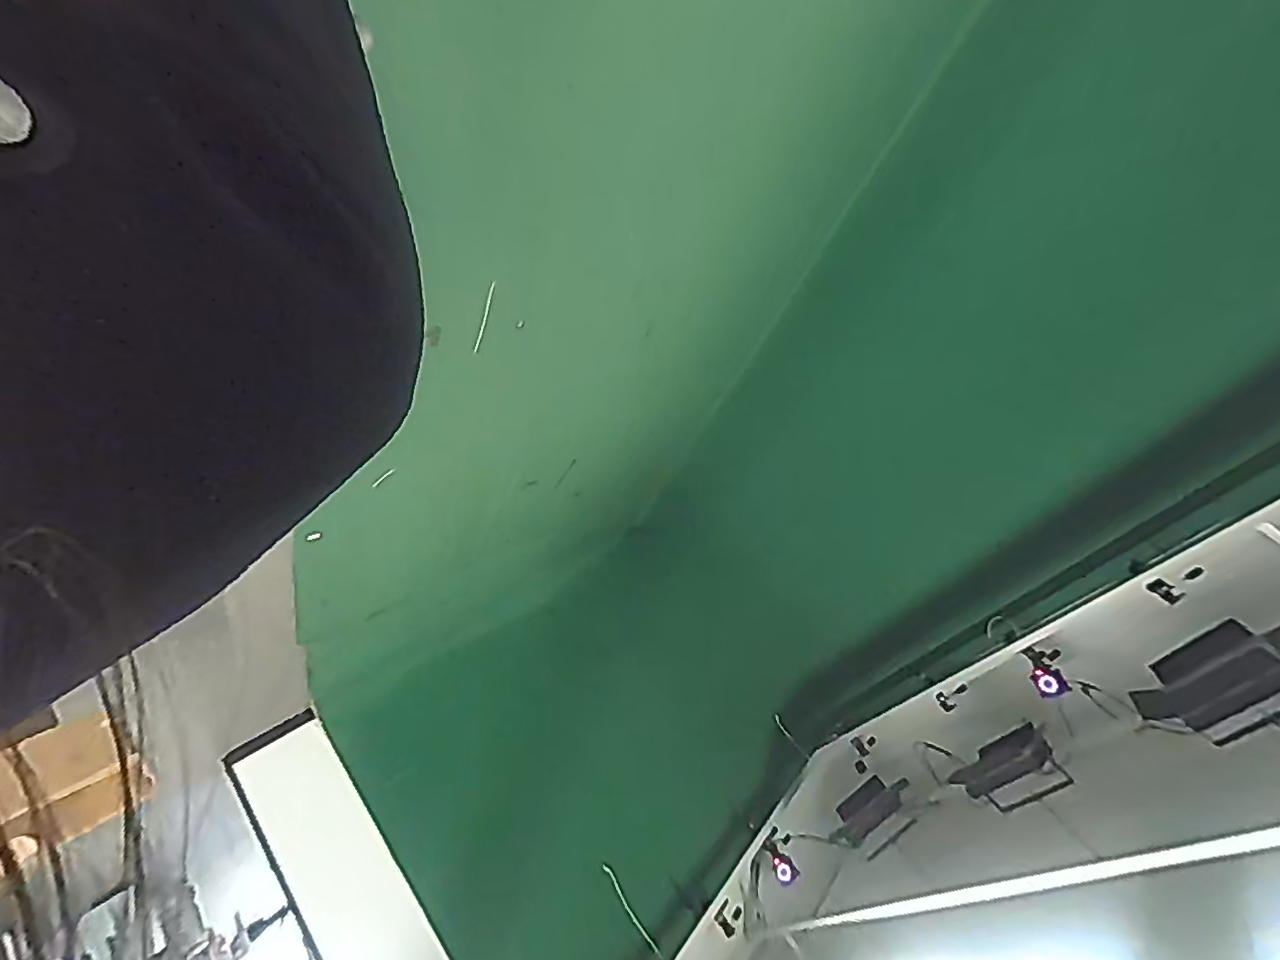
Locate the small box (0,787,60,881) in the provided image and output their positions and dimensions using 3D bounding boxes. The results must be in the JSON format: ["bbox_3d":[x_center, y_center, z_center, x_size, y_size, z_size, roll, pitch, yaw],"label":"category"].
[{"bbox_3d":[-1.736,0.965,1.457,0.168,0.176,0.179,-30,157,-38],"label":"small box"}]
